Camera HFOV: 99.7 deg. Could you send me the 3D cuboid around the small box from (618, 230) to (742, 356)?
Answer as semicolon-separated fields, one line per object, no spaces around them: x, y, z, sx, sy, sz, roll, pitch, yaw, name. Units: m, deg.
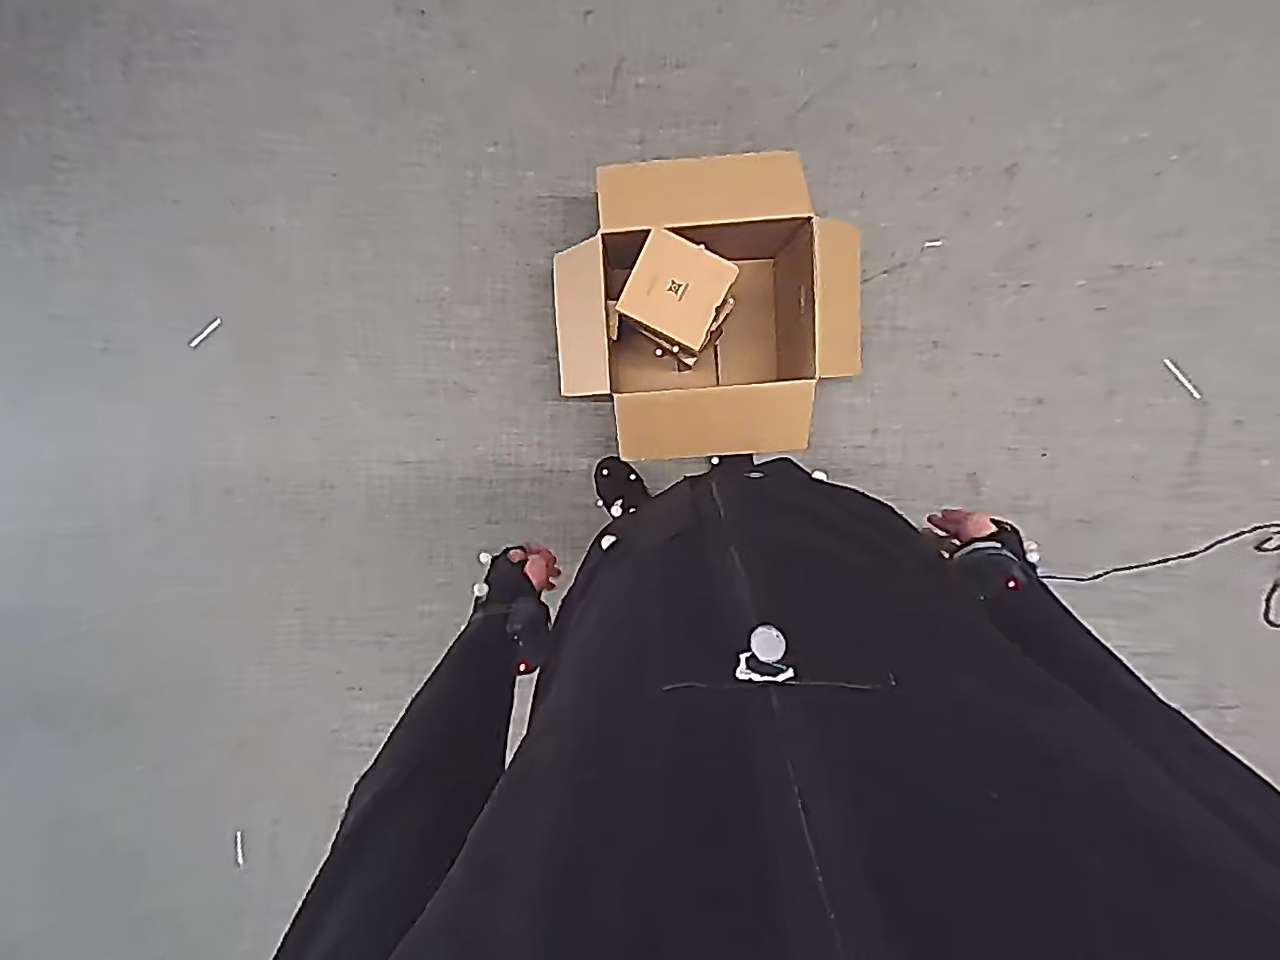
0.079;-0.355;1.064;0.179;0.176;0.168;28;99;1;small box
